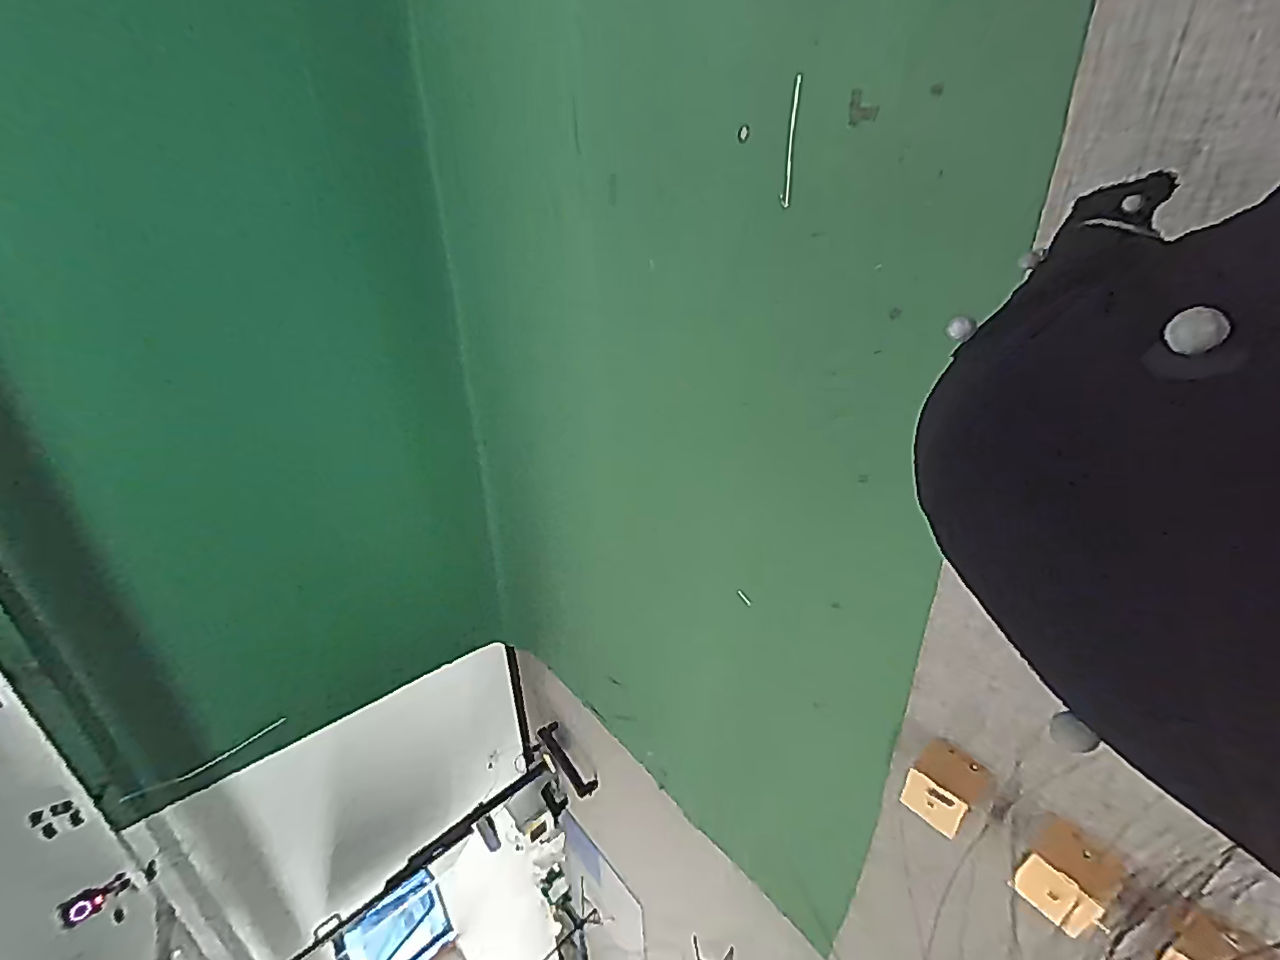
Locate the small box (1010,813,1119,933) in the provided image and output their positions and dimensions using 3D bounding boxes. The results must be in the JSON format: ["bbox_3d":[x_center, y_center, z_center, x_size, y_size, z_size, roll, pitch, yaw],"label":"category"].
[{"bbox_3d":[1.164,1.069,1.480,0.168,0.176,0.179,32,130,39],"label":"small box"}]

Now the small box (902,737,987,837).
[{"bbox_3d":[0.954,0.950,1.689,0.168,0.176,0.179,27,128,42],"label":"small box"}]

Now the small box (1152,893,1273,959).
[{"bbox_3d":[1.350,1.149,1.280,0.168,0.176,0.179,21,121,43],"label":"small box"}]
